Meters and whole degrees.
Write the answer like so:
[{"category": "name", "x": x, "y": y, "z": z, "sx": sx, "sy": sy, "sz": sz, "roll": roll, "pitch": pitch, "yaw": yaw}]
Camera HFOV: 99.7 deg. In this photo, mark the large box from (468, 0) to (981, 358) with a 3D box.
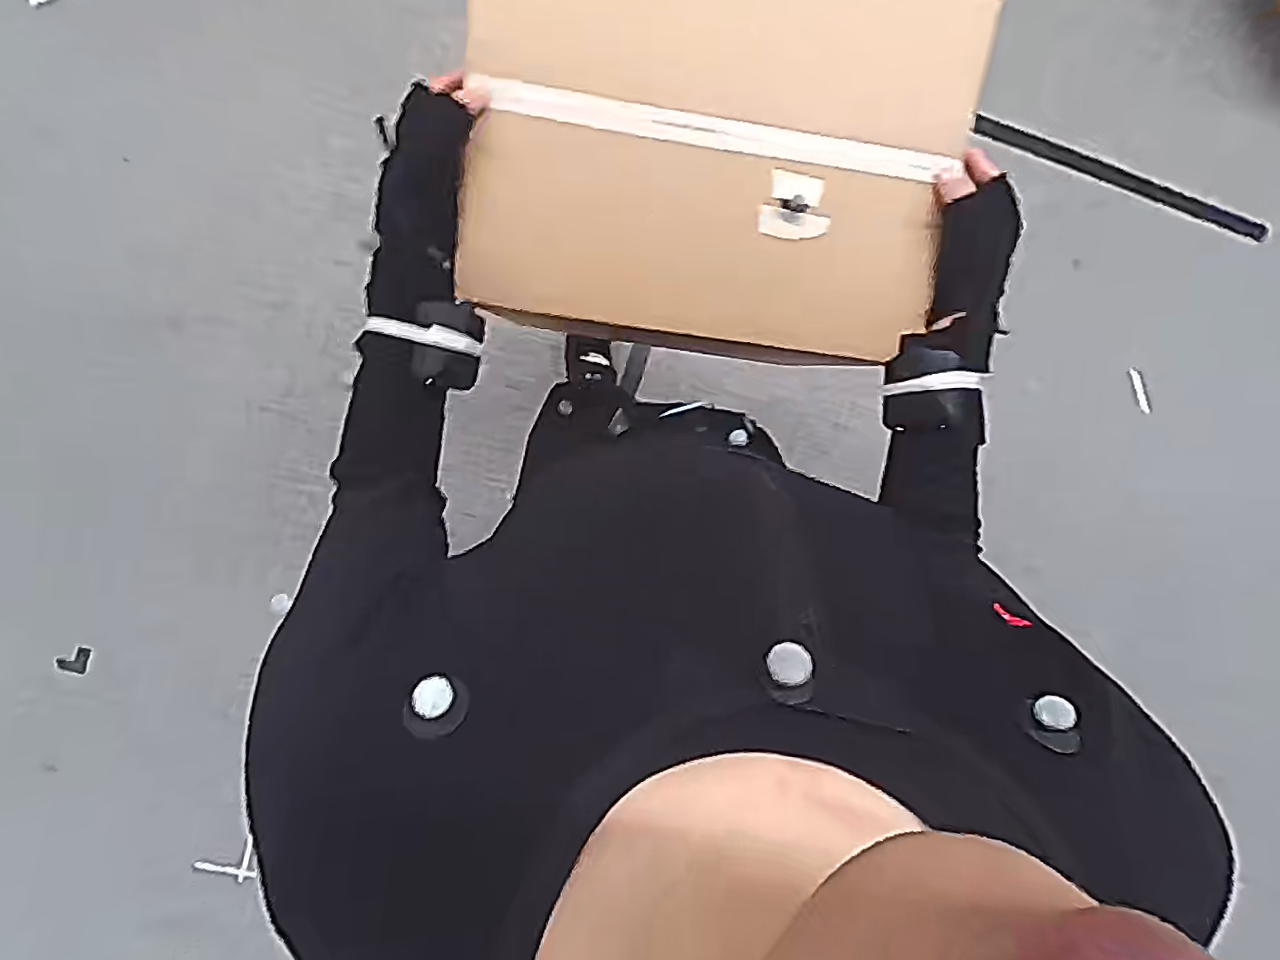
[{"category": "large box", "x": 0.052, "y": -0.316, "z": 0.592, "sx": 0.408, "sy": 0.320, "sz": 0.320, "roll": 7, "pitch": 102, "yaw": -7}]
